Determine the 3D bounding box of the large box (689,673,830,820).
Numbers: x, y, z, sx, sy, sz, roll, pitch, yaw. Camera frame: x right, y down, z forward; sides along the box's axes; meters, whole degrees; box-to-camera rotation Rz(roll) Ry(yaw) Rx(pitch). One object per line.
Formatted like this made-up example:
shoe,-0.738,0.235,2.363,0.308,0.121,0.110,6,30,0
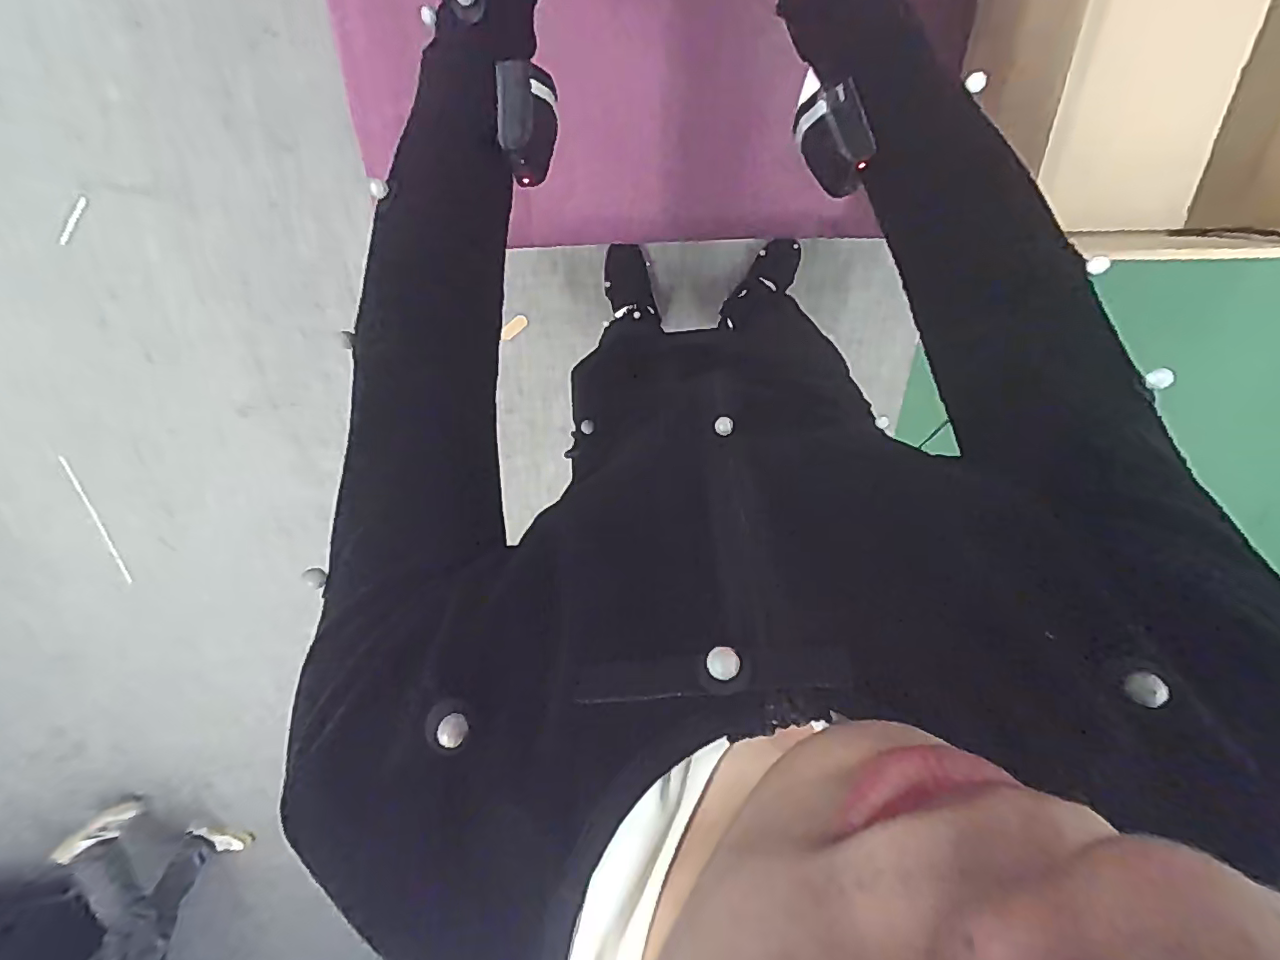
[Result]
large box,0.459,1.051,2.143,0.408,0.320,0.320,-32,116,11
